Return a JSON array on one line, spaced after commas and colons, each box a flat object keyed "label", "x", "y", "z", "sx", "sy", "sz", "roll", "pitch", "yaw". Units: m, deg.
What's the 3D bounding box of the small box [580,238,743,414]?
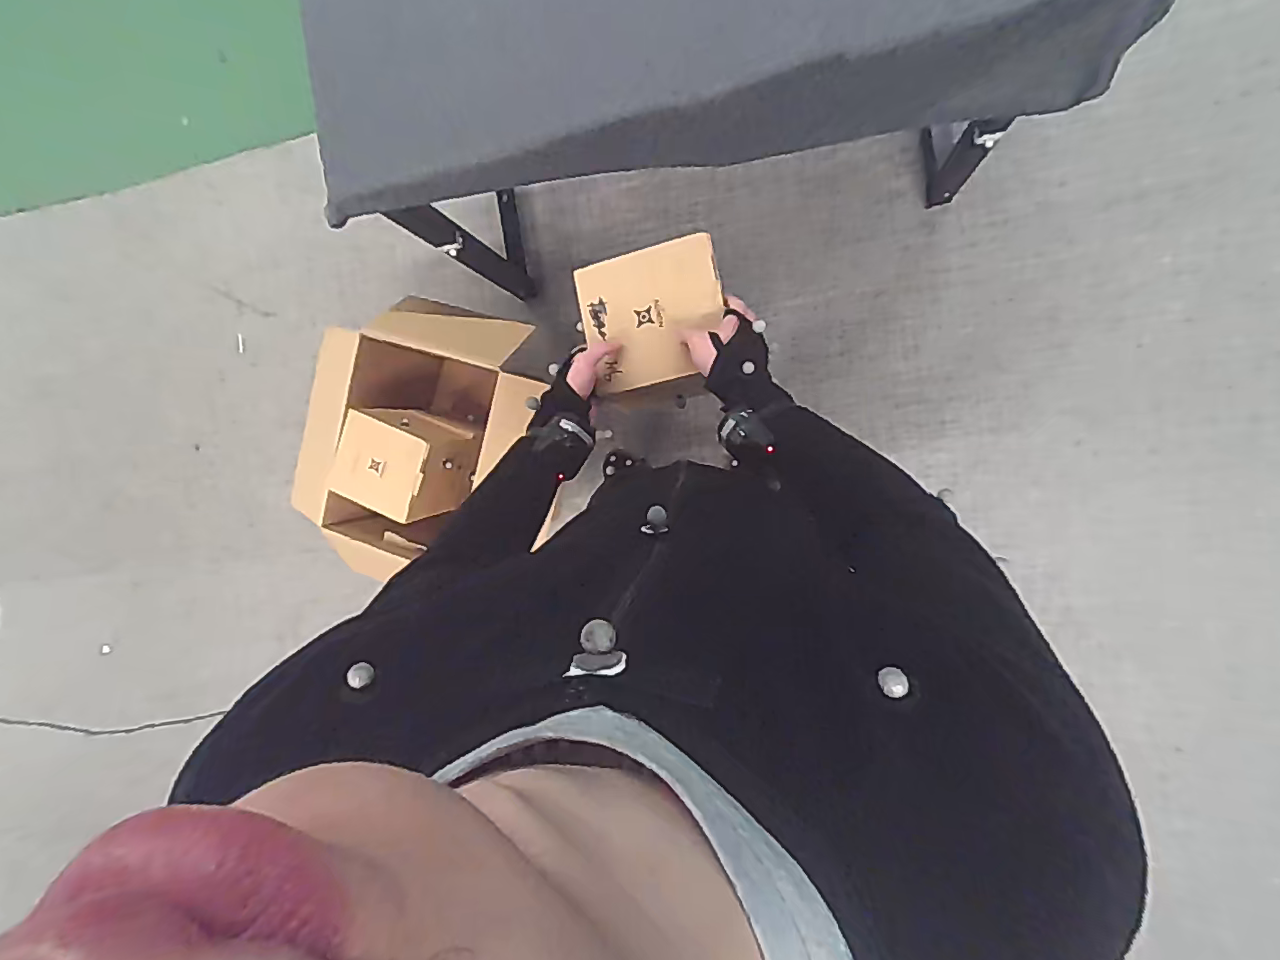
[{"label": "small box", "x": 0.038, "y": -0.193, "z": 0.730, "sx": 0.179, "sy": 0.176, "sz": 0.168, "roll": -12, "pitch": 87, "yaw": 12}]
